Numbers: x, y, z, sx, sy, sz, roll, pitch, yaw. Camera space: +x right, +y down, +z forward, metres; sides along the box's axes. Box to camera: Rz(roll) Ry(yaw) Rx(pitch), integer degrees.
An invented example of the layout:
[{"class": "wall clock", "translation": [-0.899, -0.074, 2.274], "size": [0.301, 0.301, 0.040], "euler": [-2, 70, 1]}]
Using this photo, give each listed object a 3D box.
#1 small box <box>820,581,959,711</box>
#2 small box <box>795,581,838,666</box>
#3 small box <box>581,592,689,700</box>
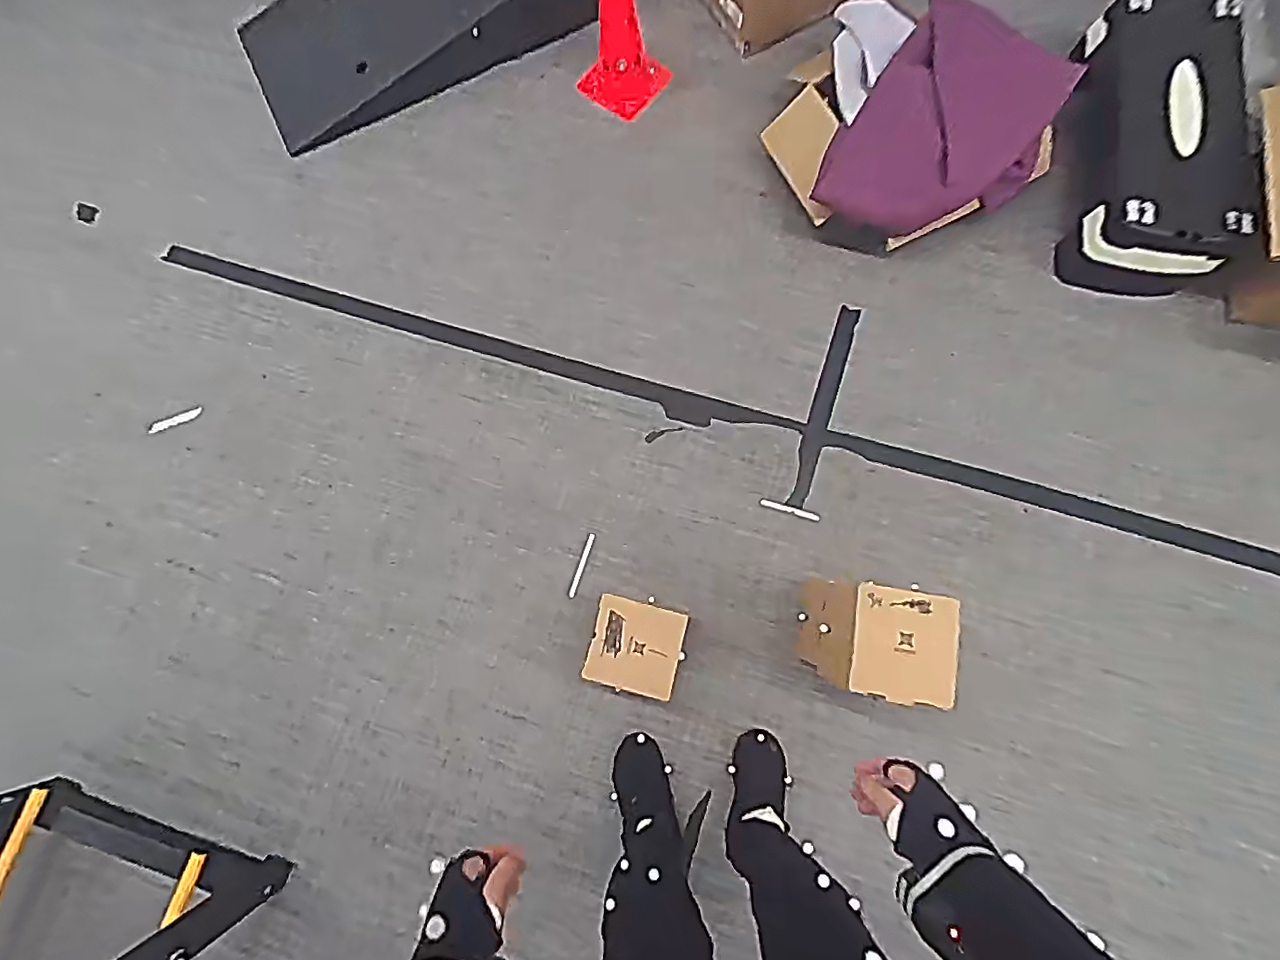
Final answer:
[{"class": "small box", "translation": [0.425, 0.279, 0.946], "size": [0.168, 0.176, 0.179], "euler": [10, 80, 4]}, {"class": "small box", "translation": [0.435, 0.303, 1.108], "size": [0.179, 0.176, 0.168], "euler": [11, 79, 4]}, {"class": "small box", "translation": [-0.006, 0.335, 1.117], "size": [0.179, 0.176, 0.168], "euler": [14, 80, 5]}]
